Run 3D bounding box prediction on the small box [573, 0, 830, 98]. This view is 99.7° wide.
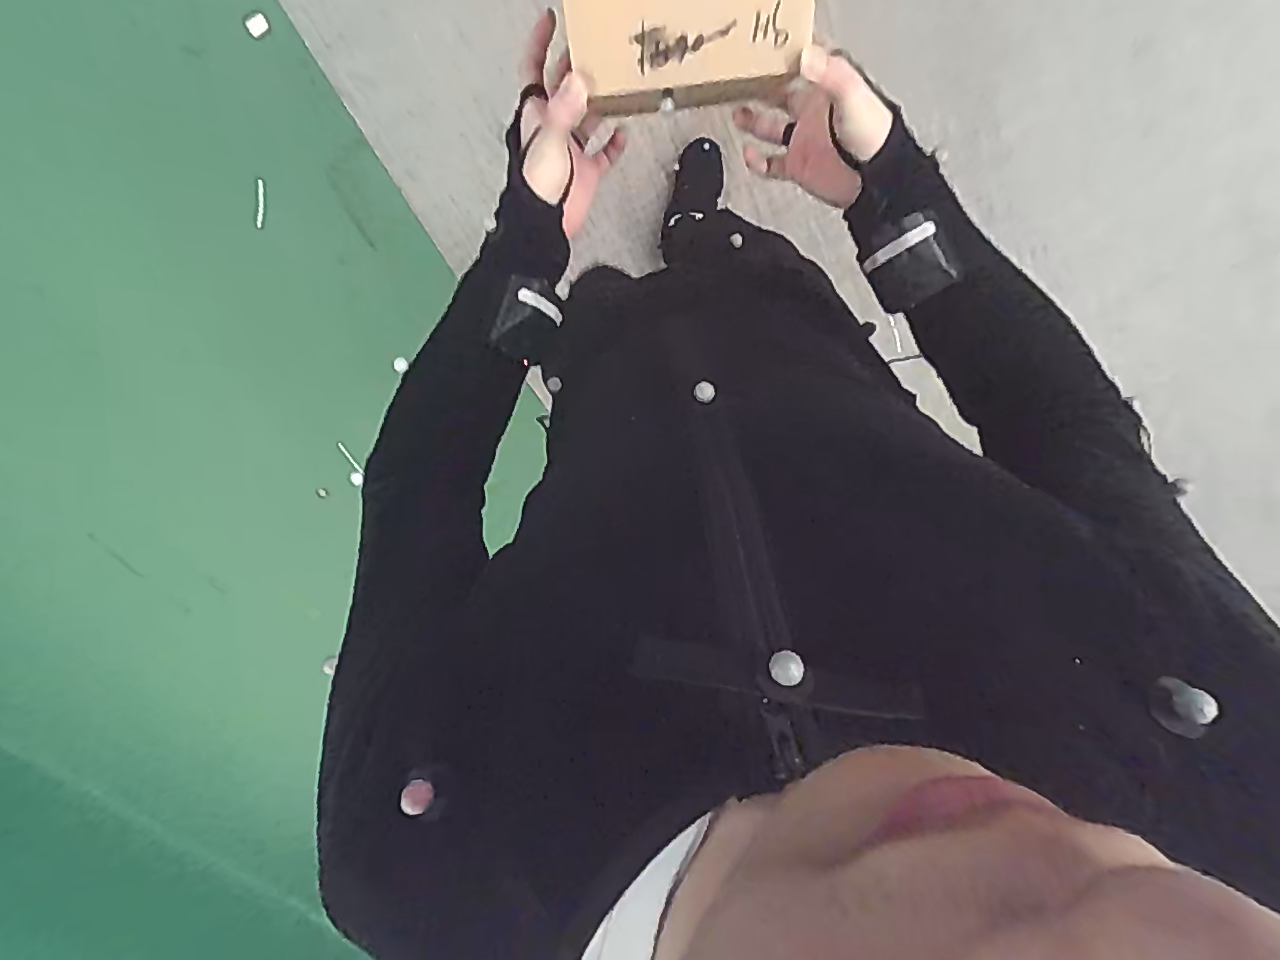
[{"bbox_3d":[0.035,-0.393,0.383,0.168,0.176,0.179,-3,120,4],"label":"small box"}]
